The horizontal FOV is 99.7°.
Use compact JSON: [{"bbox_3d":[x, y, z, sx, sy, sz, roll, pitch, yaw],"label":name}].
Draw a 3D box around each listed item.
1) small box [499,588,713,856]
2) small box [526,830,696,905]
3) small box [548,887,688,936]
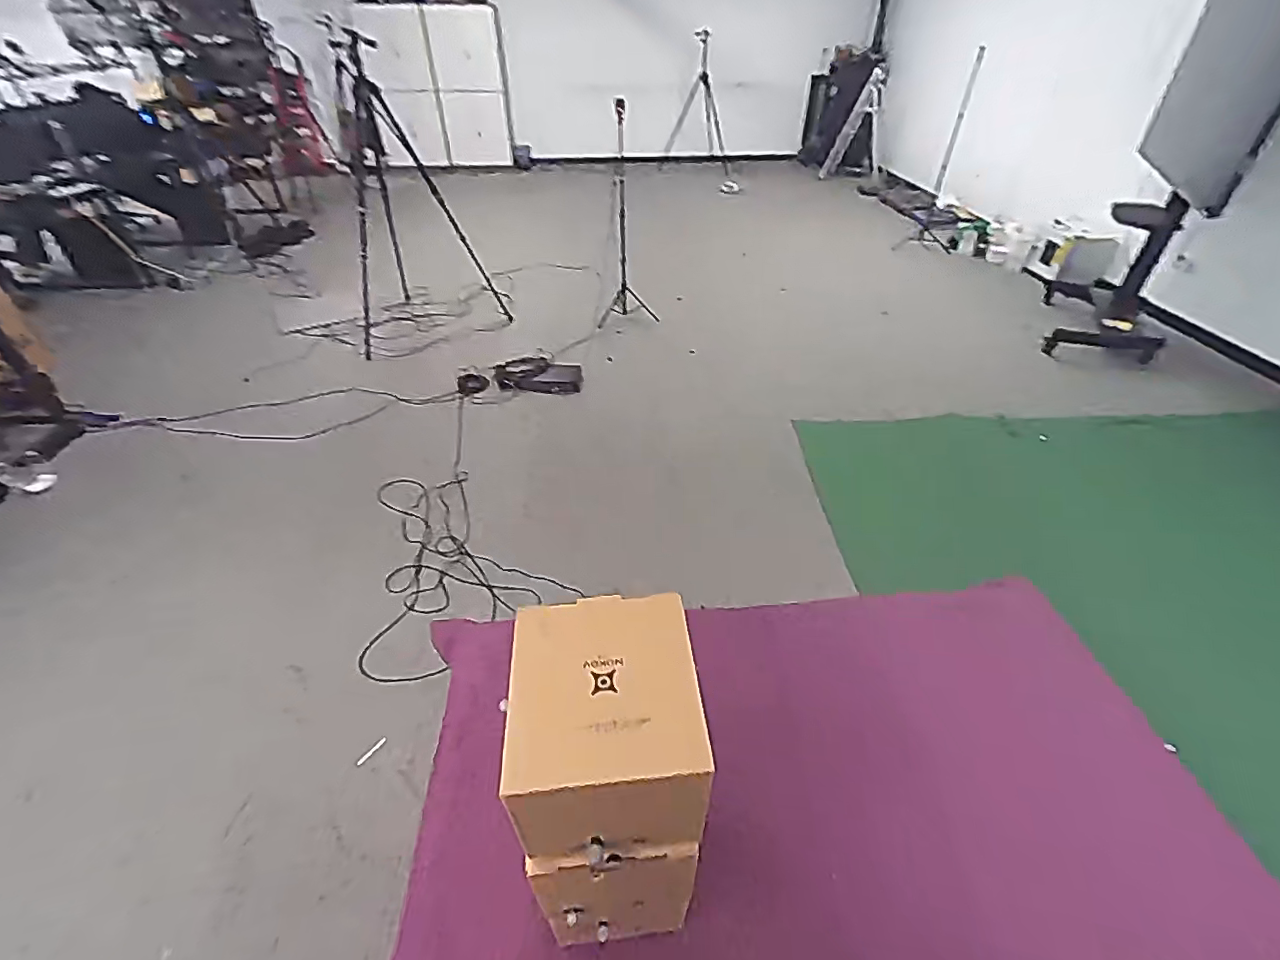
[{"bbox_3d":[-0.031,0.229,0.522,0.168,0.176,0.179,-4,40,-3],"label":"small box"},{"bbox_3d":[-0.031,0.359,0.620,0.168,0.176,0.179,-4,39,-4],"label":"small box"},{"bbox_3d":[-0.030,0.484,0.727,0.168,0.176,0.179,-5,40,-5],"label":"small box"}]
